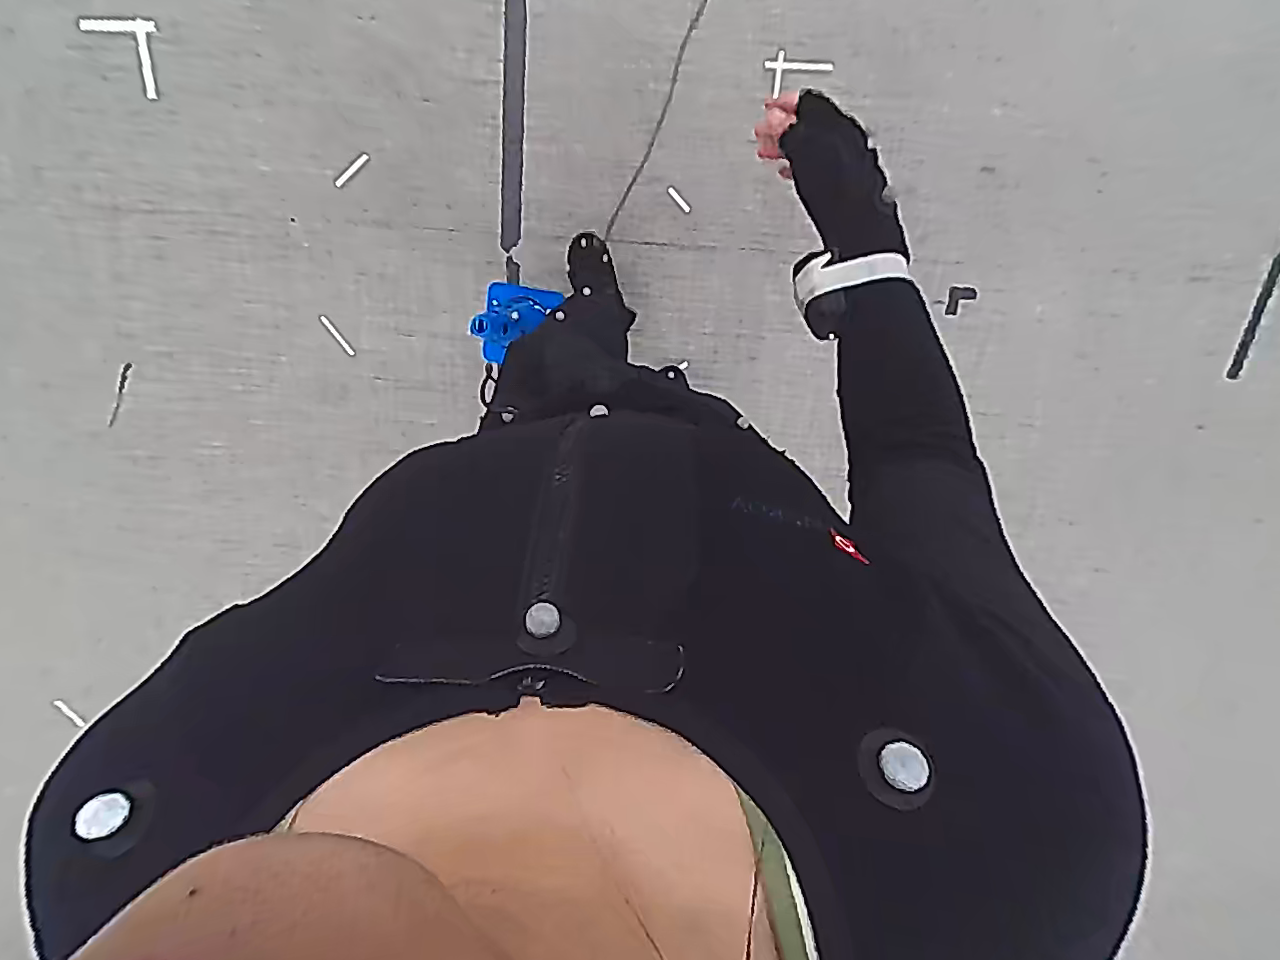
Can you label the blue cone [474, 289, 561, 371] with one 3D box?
[{"bbox_3d":[-0.296,-0.334,1.205,0.193,0.380,0.192,8,105,-1],"label":"blue cone"}]
